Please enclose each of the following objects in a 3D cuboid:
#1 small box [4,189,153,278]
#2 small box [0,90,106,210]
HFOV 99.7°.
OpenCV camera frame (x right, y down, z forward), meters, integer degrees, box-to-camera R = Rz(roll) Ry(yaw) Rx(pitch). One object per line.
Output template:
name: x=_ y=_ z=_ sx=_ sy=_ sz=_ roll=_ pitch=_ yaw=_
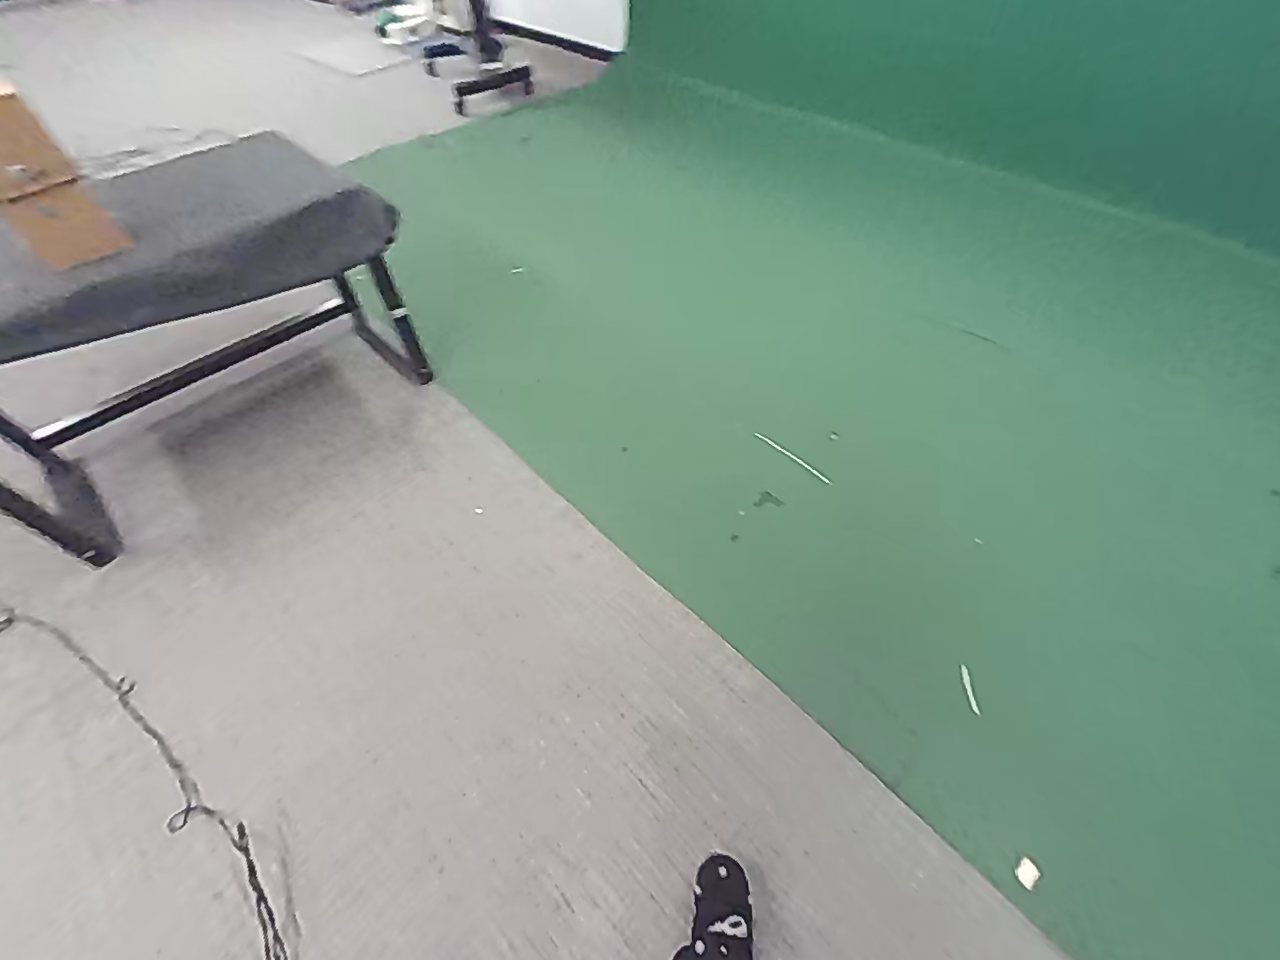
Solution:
small box: x=-1.359 y=-0.620 z=1.317 sx=0.168 sy=0.176 sz=0.179 roll=37 pitch=61 yaw=27
small box: x=-1.355 y=-0.723 z=1.192 sx=0.179 sy=0.176 sz=0.168 roll=33 pitch=62 yaw=24
